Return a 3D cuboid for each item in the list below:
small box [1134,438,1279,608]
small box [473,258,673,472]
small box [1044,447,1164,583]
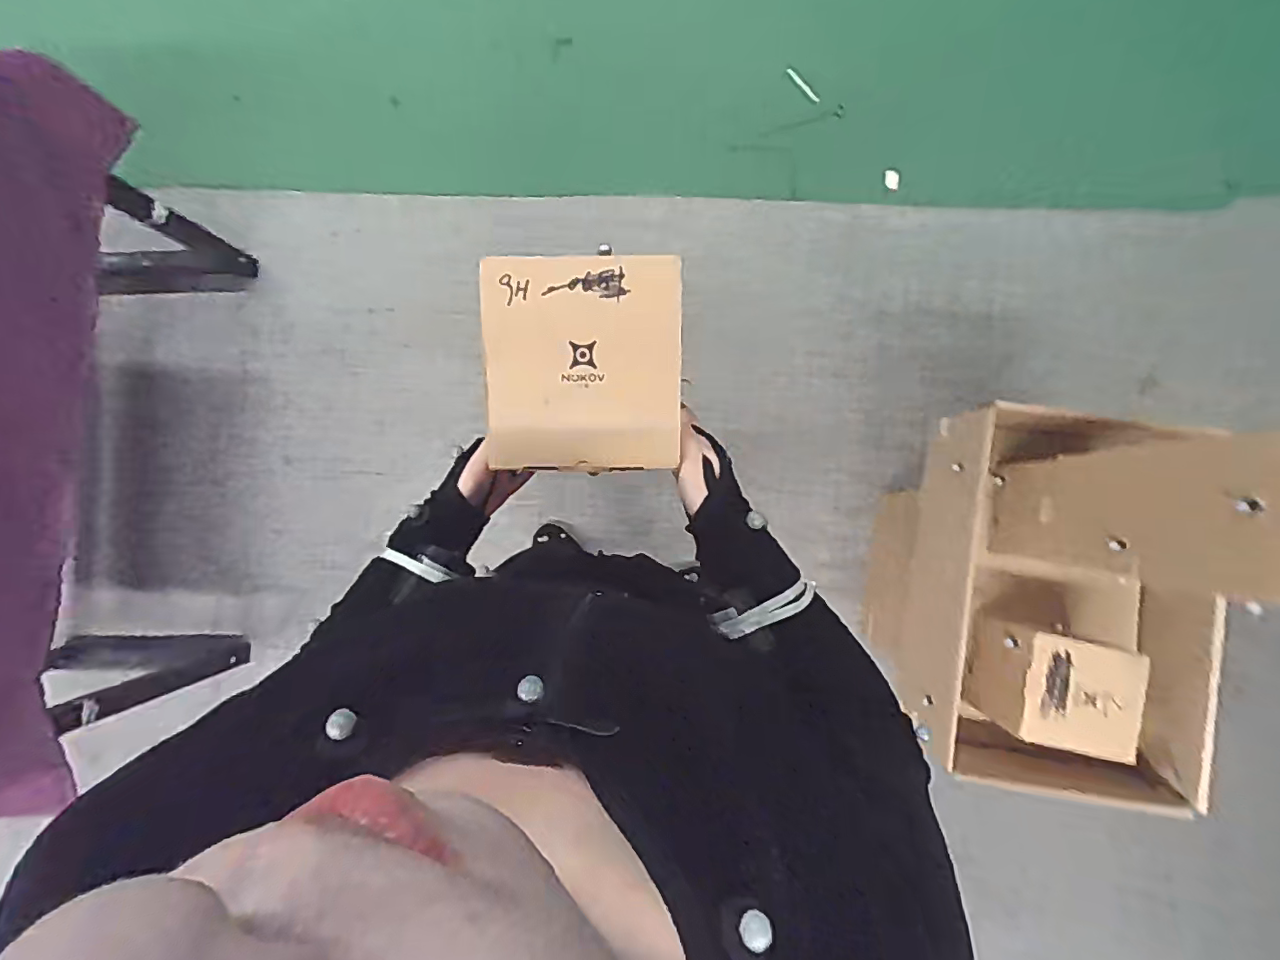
[{"bbox_3d":[0.710,0.052,0.606,0.168,0.176,0.179,7,89,3],"label":"small box"},{"bbox_3d":[-0.053,-0.108,0.529,0.168,0.176,0.179,0,100,1],"label":"small box"},{"bbox_3d":[0.719,0.056,0.770,0.168,0.176,0.179,7,89,3],"label":"small box"}]
